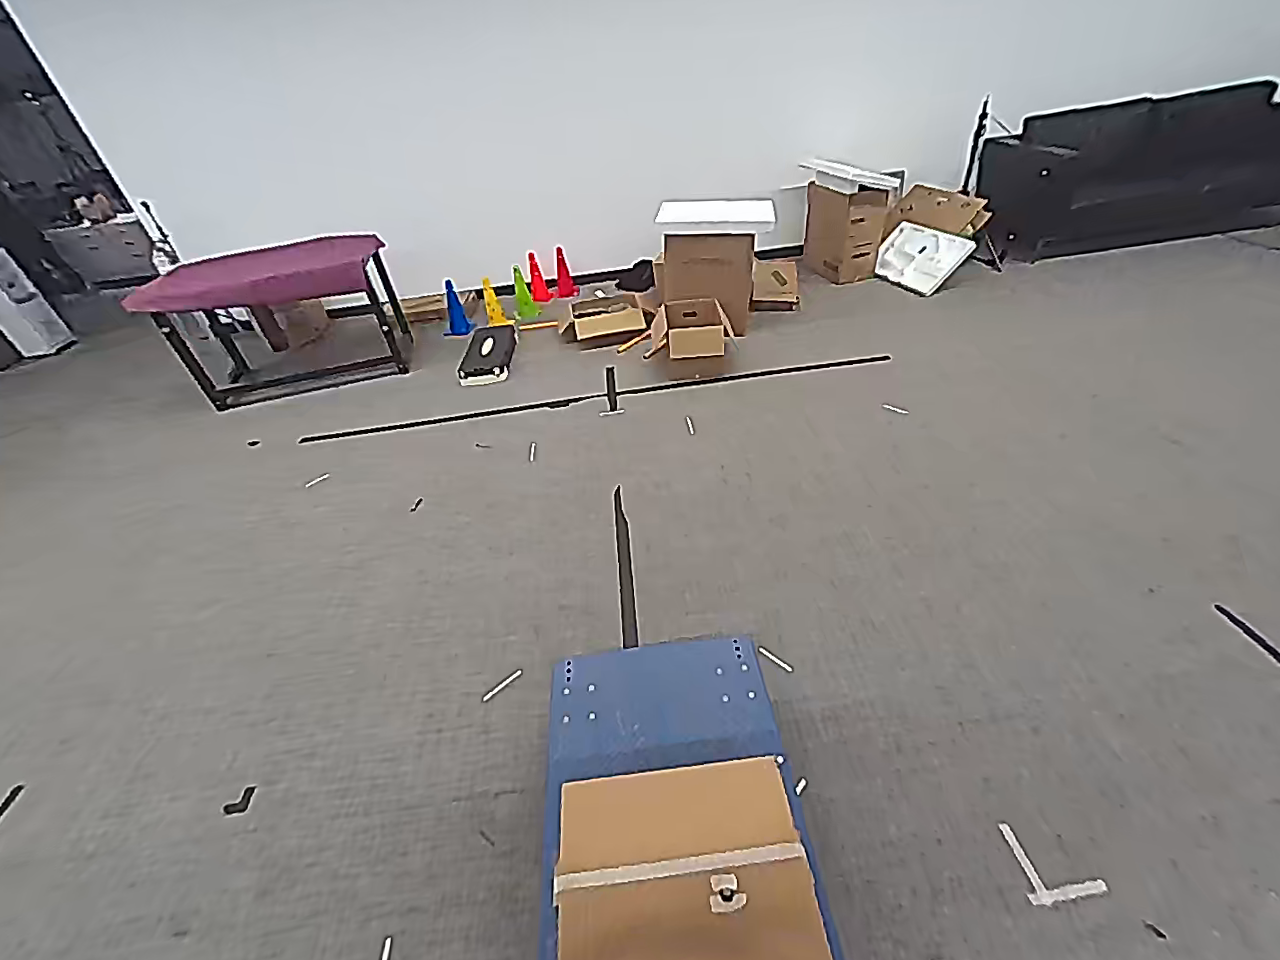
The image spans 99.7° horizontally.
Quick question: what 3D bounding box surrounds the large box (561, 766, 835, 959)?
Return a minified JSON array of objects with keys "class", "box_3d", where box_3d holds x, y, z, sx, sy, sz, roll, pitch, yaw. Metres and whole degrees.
[{"class":"large box","box_3d":[0.082,0.758,0.953,0.408,0.320,0.320,-7,39,-1]}]
